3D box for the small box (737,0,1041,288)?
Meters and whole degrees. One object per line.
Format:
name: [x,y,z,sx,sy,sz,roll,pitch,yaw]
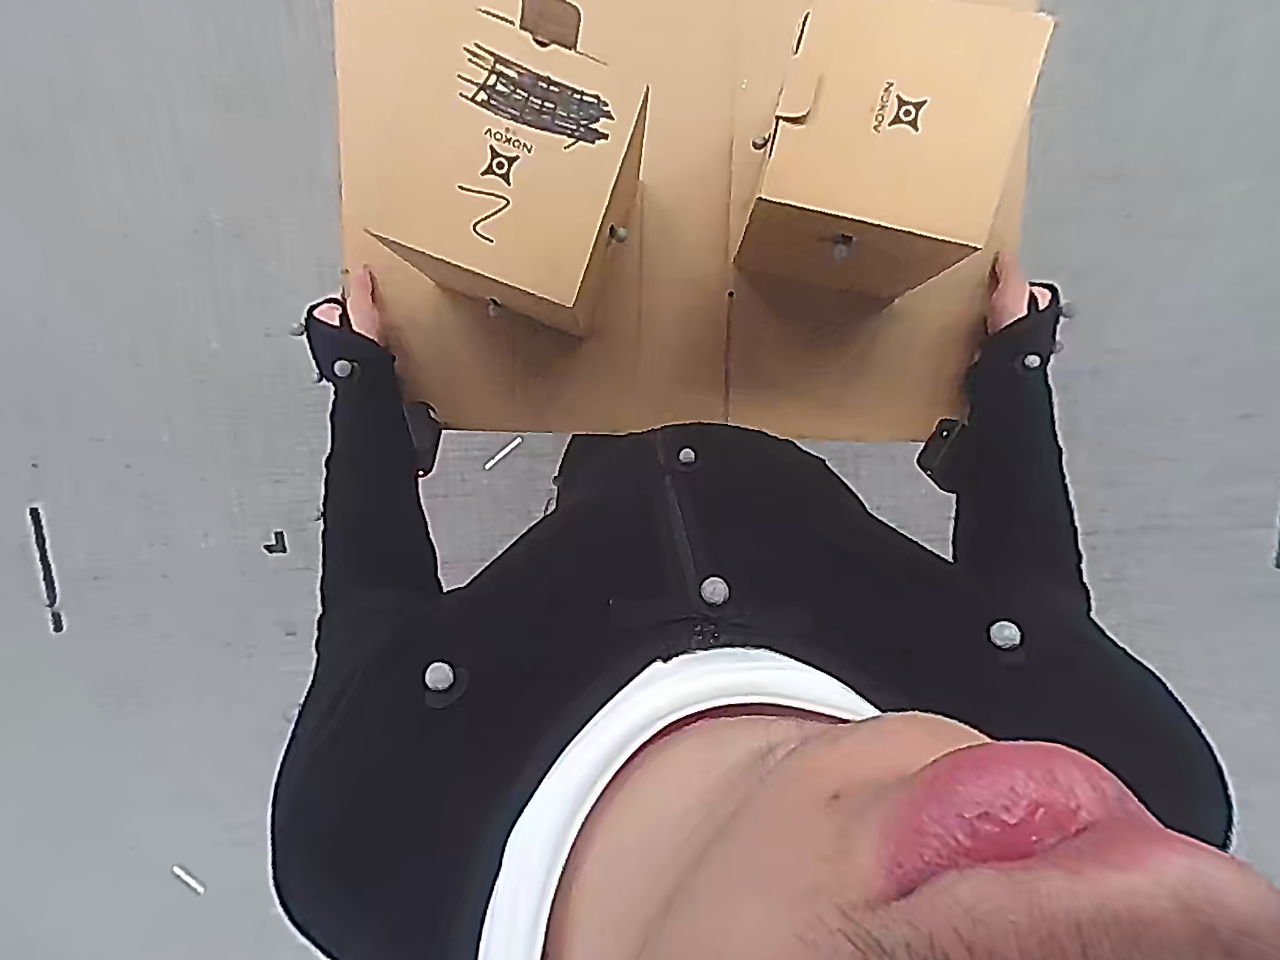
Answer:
small box: [0.198,-0.286,0.489,0.179,0.176,0.168,15,97,3]
